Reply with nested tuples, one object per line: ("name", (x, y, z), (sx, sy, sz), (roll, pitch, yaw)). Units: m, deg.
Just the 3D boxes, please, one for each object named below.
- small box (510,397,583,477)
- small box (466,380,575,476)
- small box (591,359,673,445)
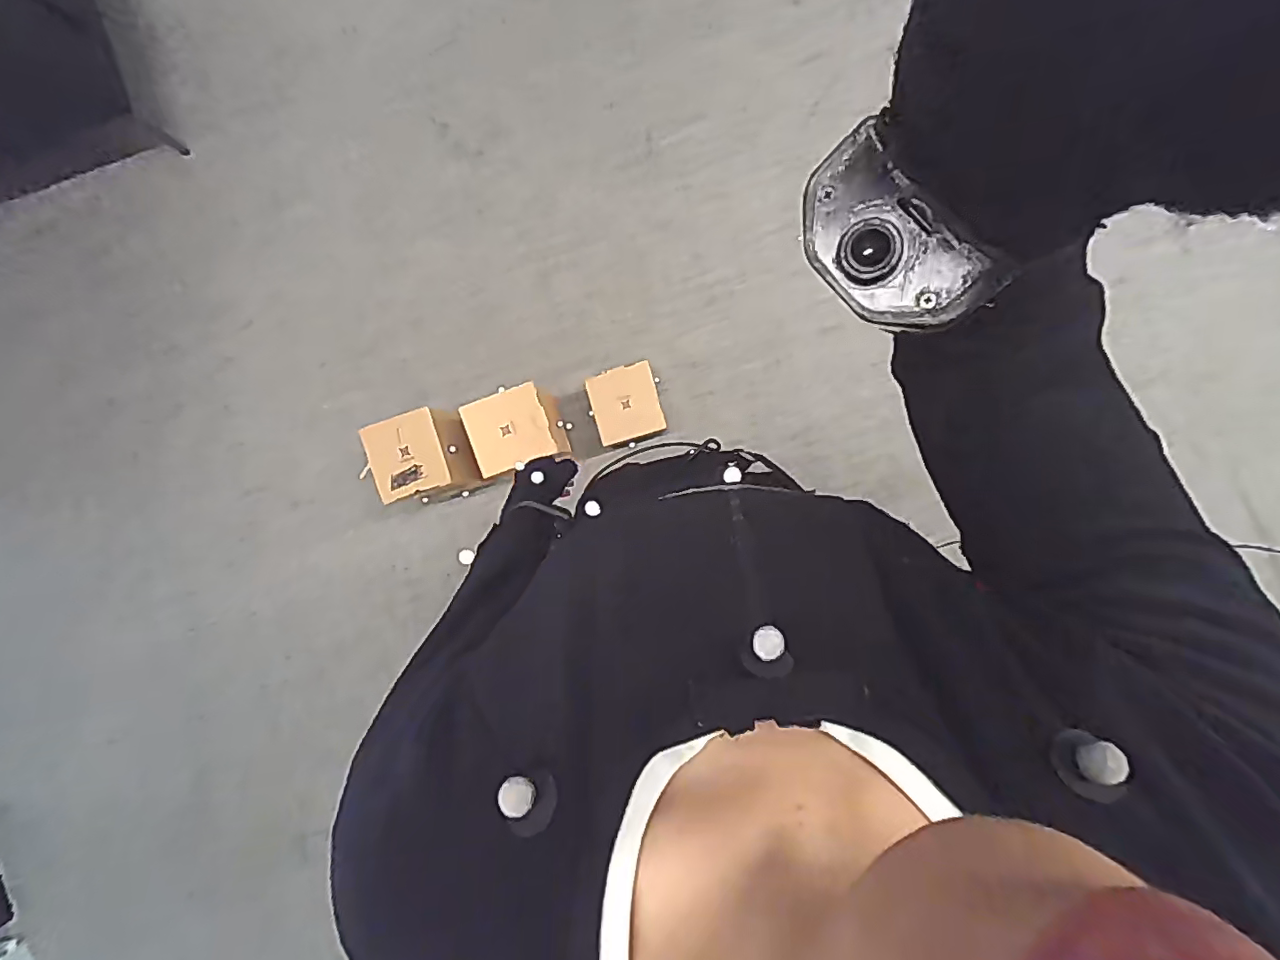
("small box", (-0.261, -0.114, 1.403), (0.168, 0.176, 0.179), (-19, 91, 5))
("small box", (-0.266, -0.113, 1.241), (0.179, 0.176, 0.168), (-20, 92, 3))
("small box", (-0.017, -0.193, 1.390), (0.168, 0.176, 0.179), (-16, 92, 4))
